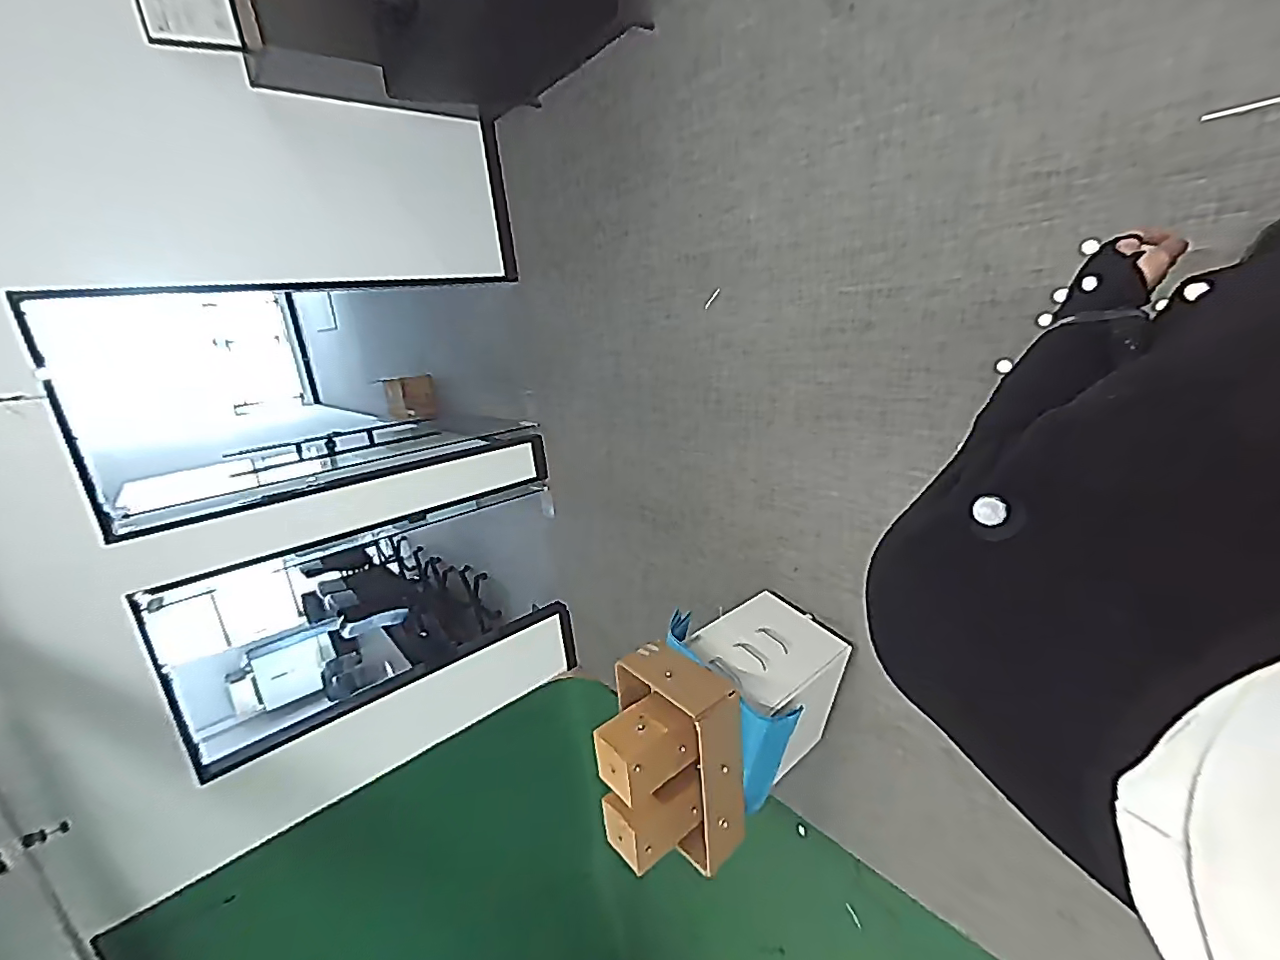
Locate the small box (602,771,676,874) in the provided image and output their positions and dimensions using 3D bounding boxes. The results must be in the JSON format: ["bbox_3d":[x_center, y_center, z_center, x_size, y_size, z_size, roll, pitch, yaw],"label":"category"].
[{"bbox_3d":[0.000,1.068,1.701,0.168,0.176,0.179,15,115,49],"label":"small box"}]
